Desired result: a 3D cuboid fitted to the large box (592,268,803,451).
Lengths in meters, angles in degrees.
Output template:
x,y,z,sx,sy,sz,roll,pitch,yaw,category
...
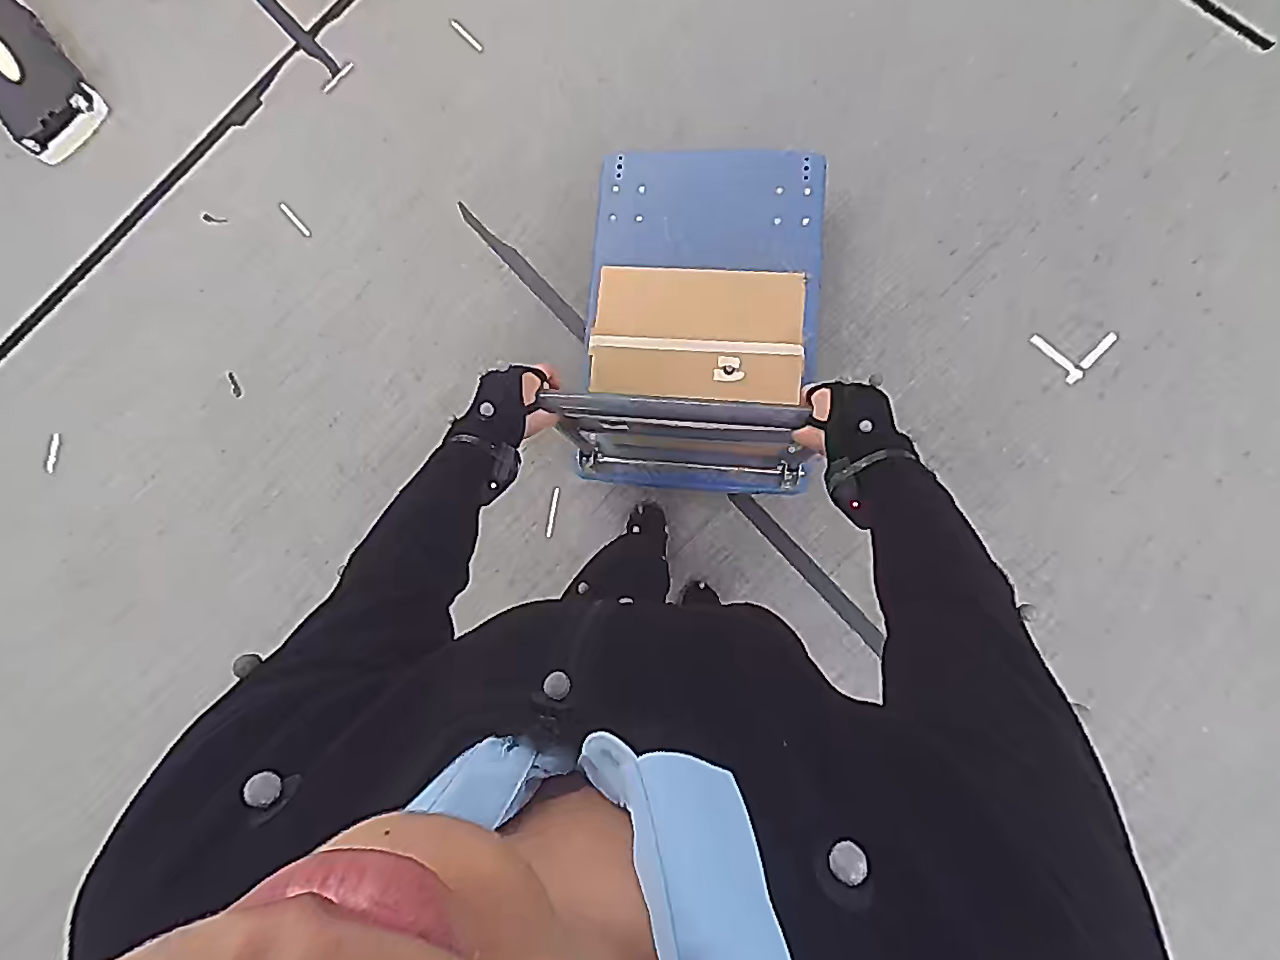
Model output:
x,y,z,sx,sy,sz,roll,pitch,yaw,category
0.121,-0.246,1.202,0.408,0.320,0.320,4,85,5,large box
